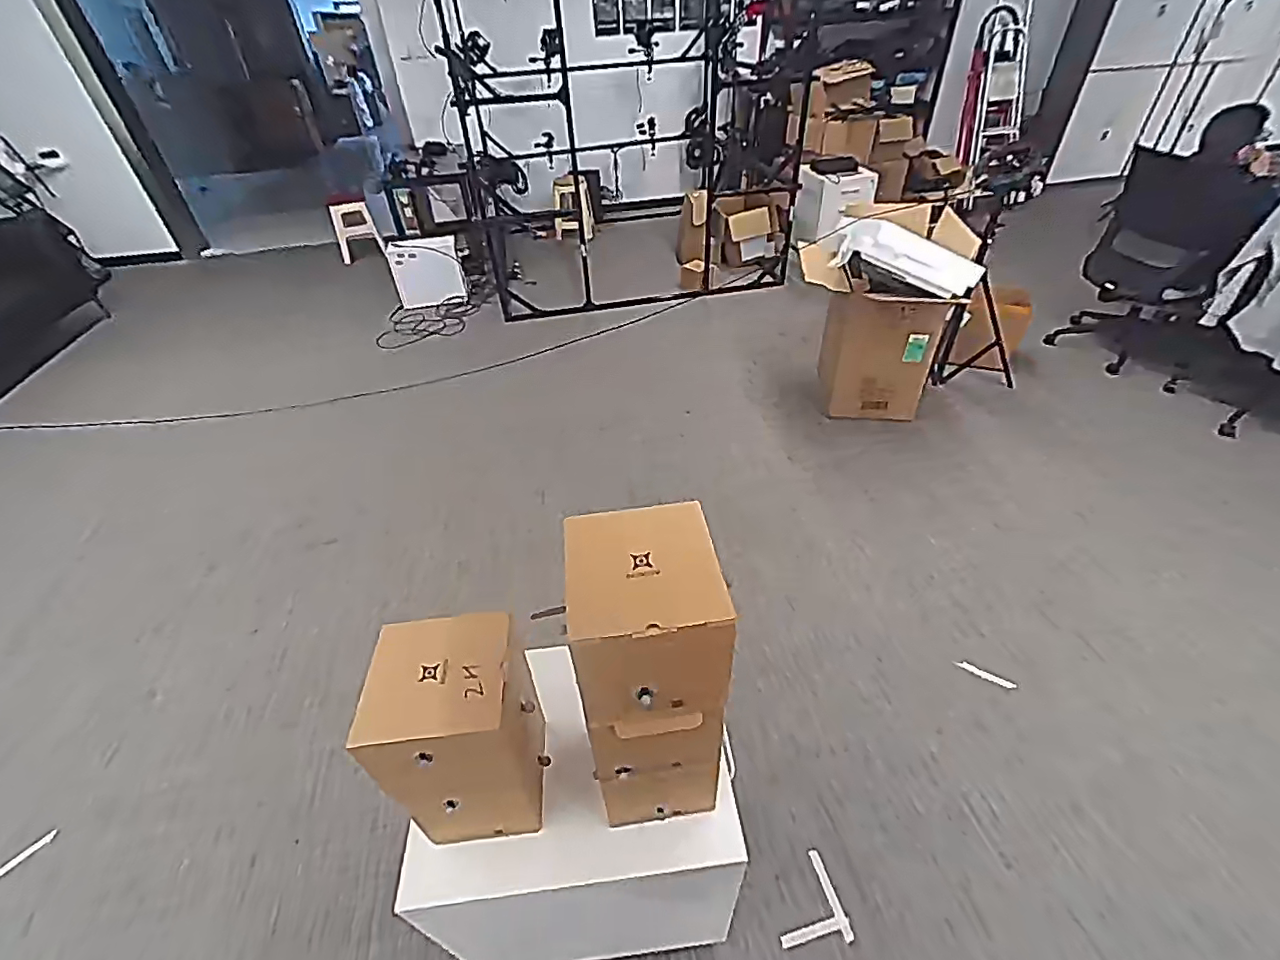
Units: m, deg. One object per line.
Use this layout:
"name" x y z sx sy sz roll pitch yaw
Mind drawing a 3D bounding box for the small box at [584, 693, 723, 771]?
"small box" 0.013 0.274 0.737 0.168 0.176 0.179 -7 40 -4

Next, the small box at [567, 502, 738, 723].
"small box" 0.007 0.152 0.630 0.168 0.176 0.179 -7 41 -4

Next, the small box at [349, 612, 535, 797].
"small box" -0.246 0.301 0.723 0.179 0.176 0.168 -6 41 -3

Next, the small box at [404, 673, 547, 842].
"small box" -0.239 0.424 0.833 0.168 0.176 0.179 -6 40 -2
